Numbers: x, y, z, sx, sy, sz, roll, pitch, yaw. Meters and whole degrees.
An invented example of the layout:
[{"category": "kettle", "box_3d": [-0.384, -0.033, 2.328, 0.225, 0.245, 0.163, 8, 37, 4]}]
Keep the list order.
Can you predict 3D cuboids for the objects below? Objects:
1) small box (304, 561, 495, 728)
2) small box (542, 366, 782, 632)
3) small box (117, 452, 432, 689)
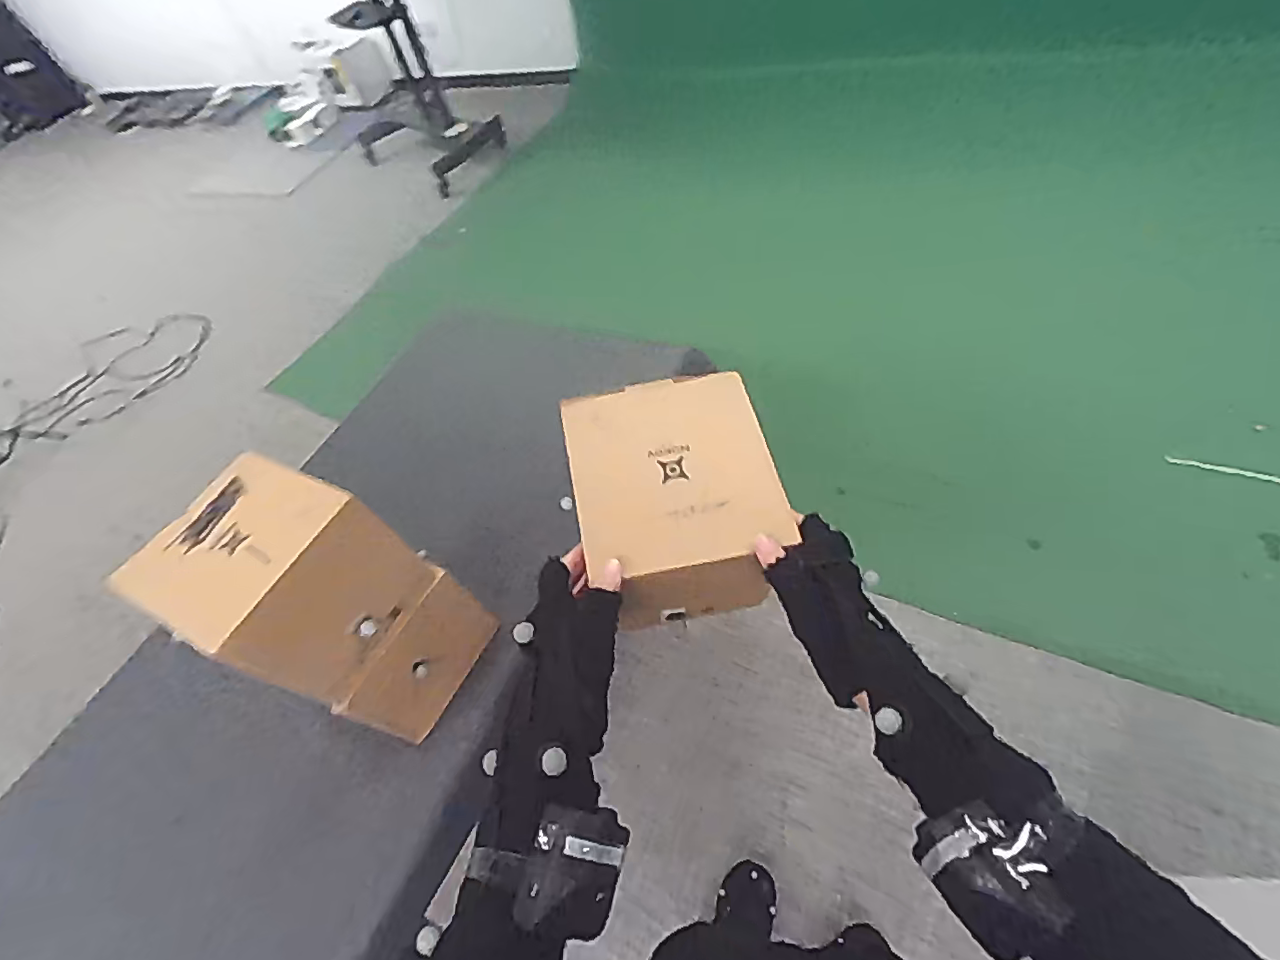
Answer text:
[{"category": "small box", "box_3d": [-0.320, 0.192, 0.696, 0.168, 0.176, 0.179, 18, 62, 25]}, {"category": "small box", "box_3d": [0.012, 0.025, 0.507, 0.168, 0.176, 0.179, -12, 63, -4]}, {"category": "small box", "box_3d": [-0.363, 0.097, 0.569, 0.179, 0.176, 0.168, 13, 59, 25]}]
